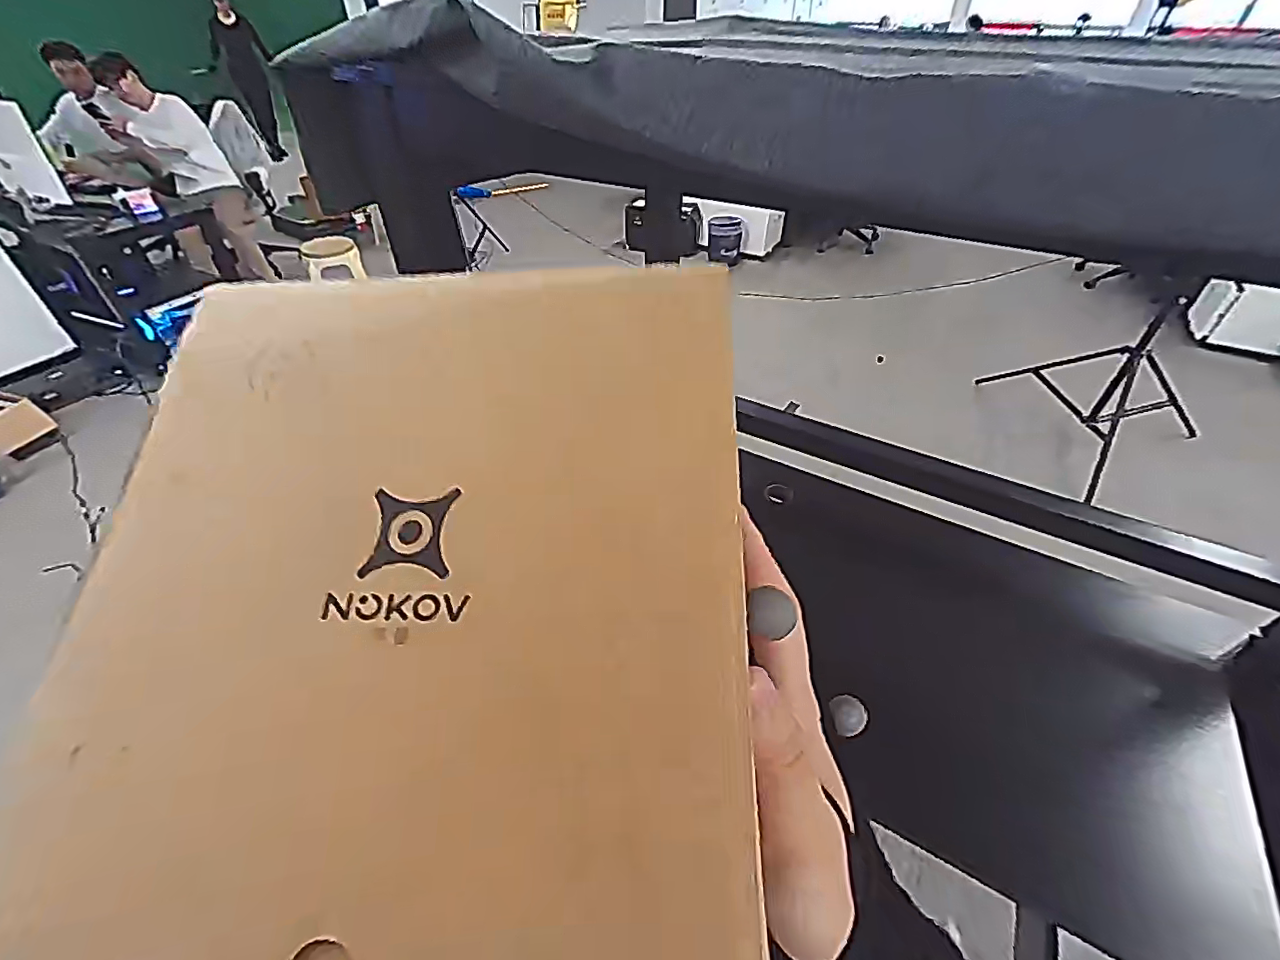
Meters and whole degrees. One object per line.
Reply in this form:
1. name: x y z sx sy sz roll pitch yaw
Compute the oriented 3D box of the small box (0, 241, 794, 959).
1. small box: -0.046 0.042 0.203 0.168 0.176 0.179 -1 68 5
